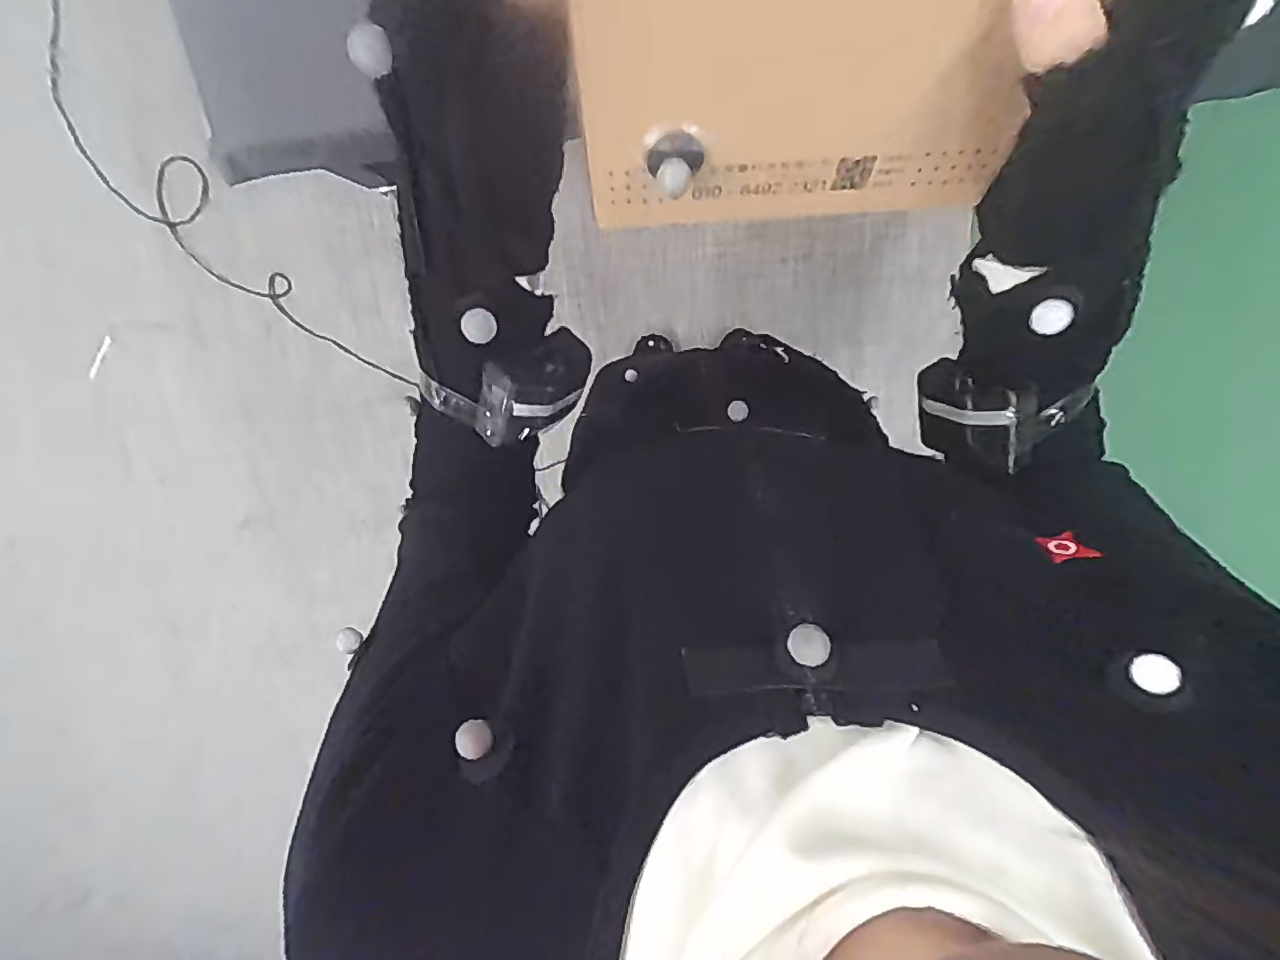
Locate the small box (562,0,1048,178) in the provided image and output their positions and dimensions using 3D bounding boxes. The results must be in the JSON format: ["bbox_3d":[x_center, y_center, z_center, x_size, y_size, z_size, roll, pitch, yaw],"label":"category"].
[{"bbox_3d":[0.052,-0.232,0.187,0.168,0.176,0.179,-3,68,-1],"label":"small box"}]
